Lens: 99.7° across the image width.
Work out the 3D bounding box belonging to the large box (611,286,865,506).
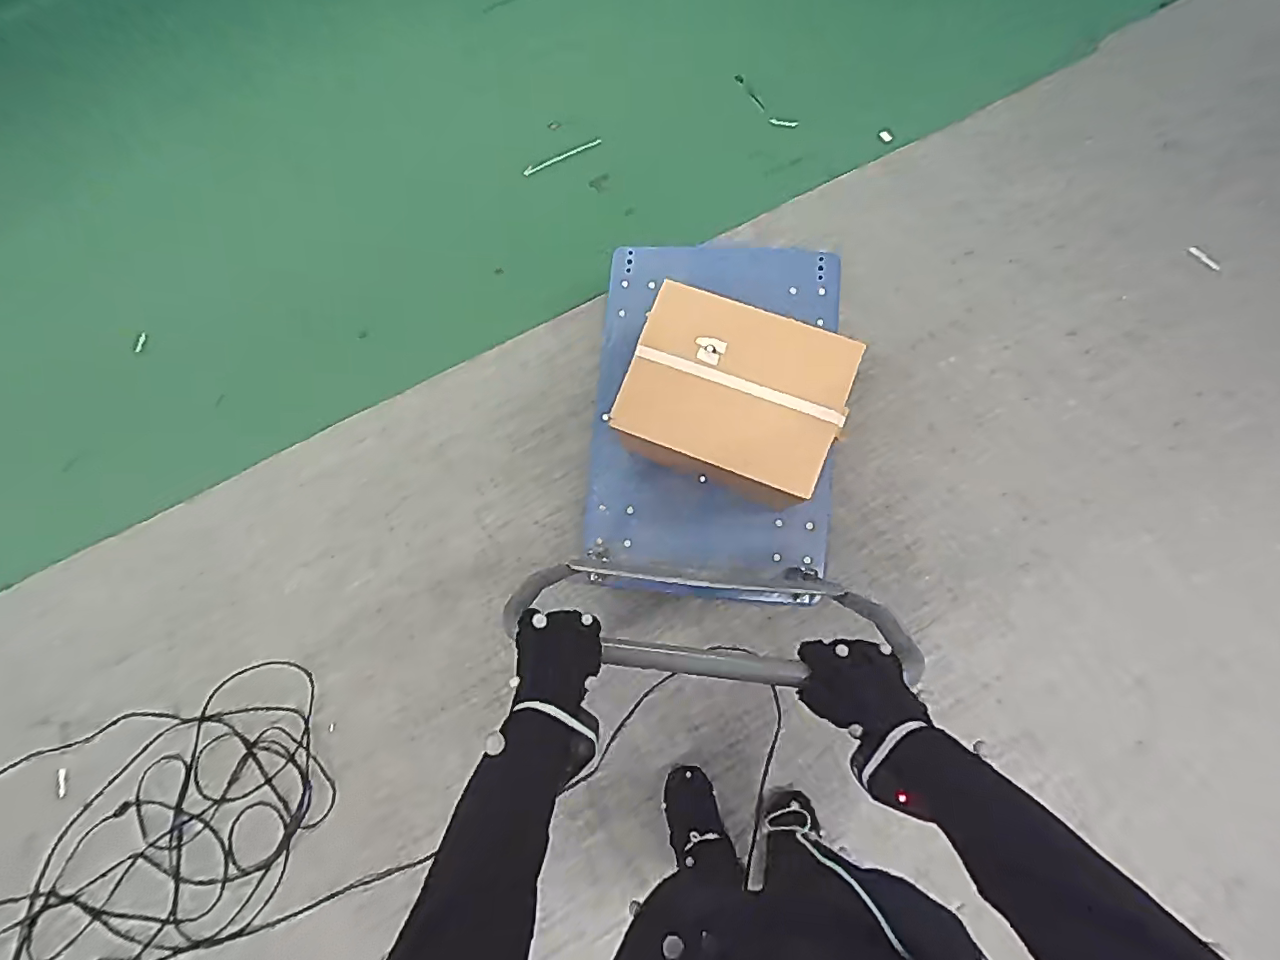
[{"bbox_3d":[0.201,-0.156,1.157,0.408,0.320,0.320,21,85,10],"label":"large box"}]
